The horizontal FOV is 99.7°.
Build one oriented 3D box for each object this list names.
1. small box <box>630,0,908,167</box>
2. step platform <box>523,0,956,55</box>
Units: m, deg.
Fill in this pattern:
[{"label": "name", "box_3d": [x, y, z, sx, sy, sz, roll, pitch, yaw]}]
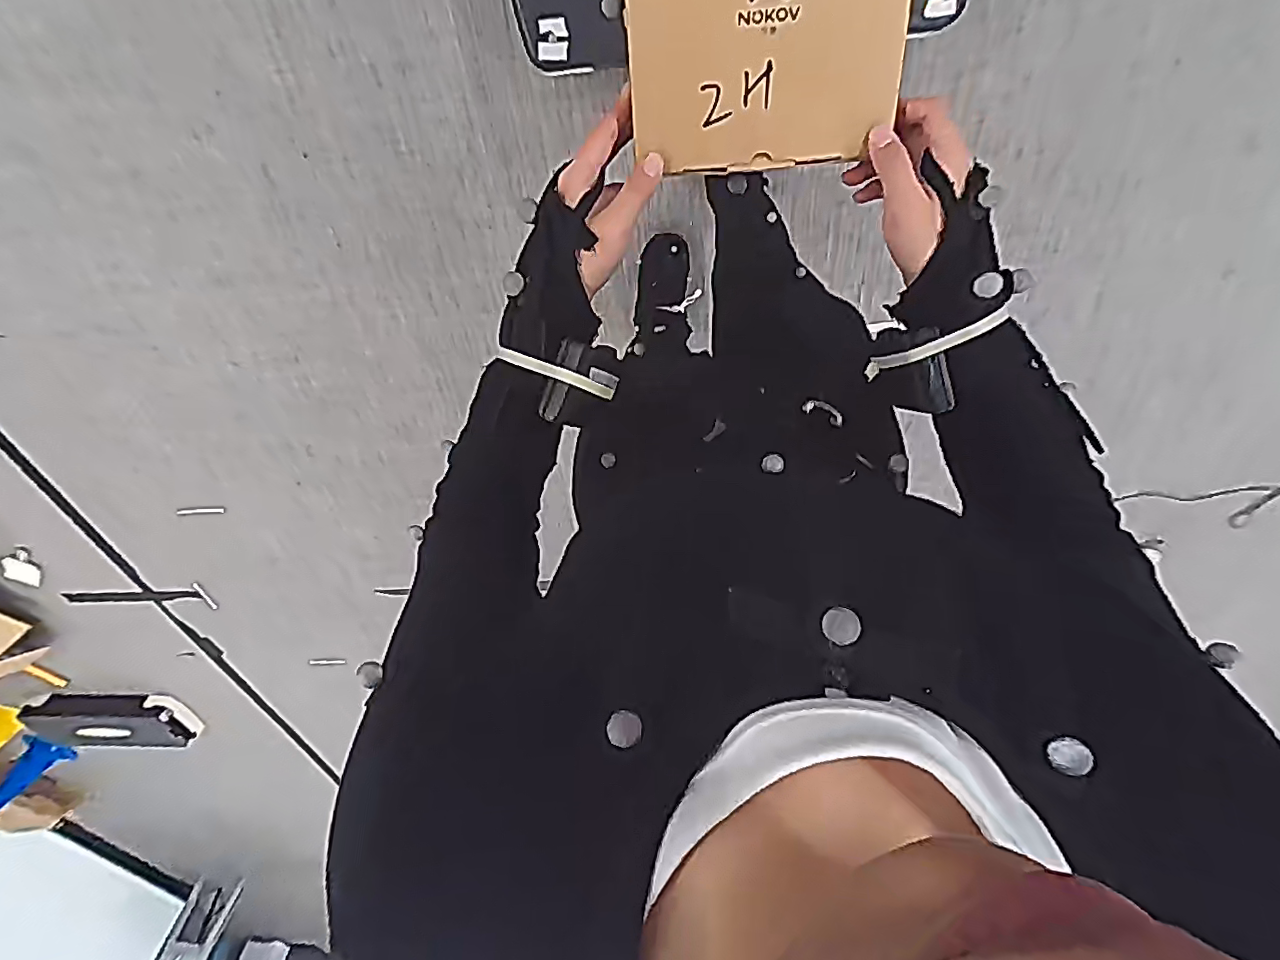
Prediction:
[{"label": "small box", "box_3d": [0.077, -0.330, 0.383, 0.168, 0.176, 0.179, -3, 119, 3]}, {"label": "step platform", "box_3d": [0.150, -0.827, 0.780, 0.684, 0.204, 0.286, -3, 127, 5]}]
